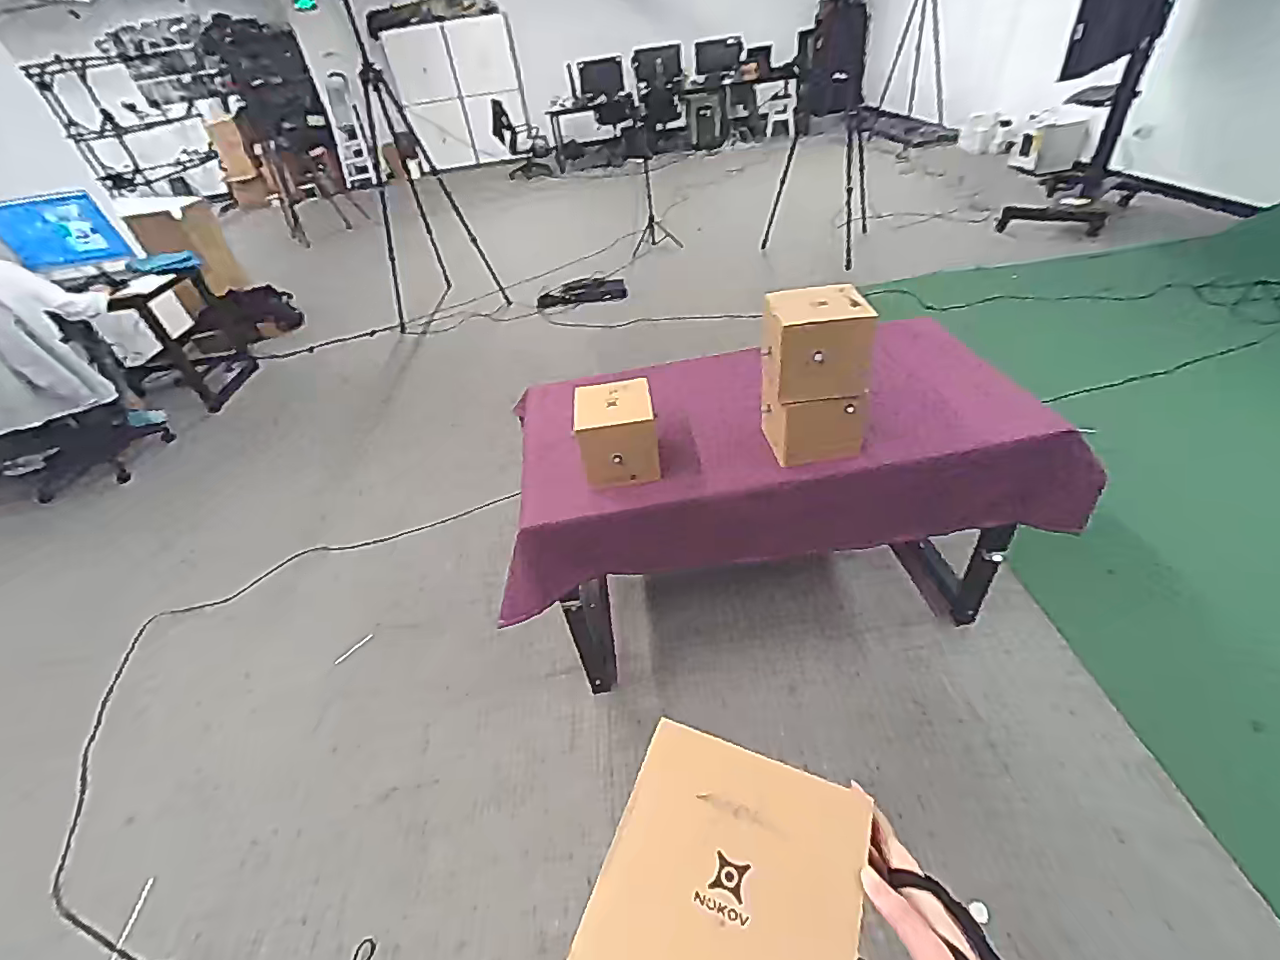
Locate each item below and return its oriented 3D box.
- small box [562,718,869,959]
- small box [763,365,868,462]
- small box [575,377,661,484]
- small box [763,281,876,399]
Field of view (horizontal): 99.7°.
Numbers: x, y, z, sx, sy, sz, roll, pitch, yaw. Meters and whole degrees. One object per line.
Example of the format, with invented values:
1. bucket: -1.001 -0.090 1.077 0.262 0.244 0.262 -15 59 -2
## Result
1. small box: 0.064 0.323 0.411 0.168 0.176 0.179 13 47 20
2. small box: 0.376 -0.155 1.188 0.179 0.176 0.168 -9 40 0
3. small box: -0.048 -0.105 1.212 0.168 0.176 0.179 -8 40 1
4. small box: 0.348 -0.276 1.080 0.179 0.176 0.168 -7 40 4
